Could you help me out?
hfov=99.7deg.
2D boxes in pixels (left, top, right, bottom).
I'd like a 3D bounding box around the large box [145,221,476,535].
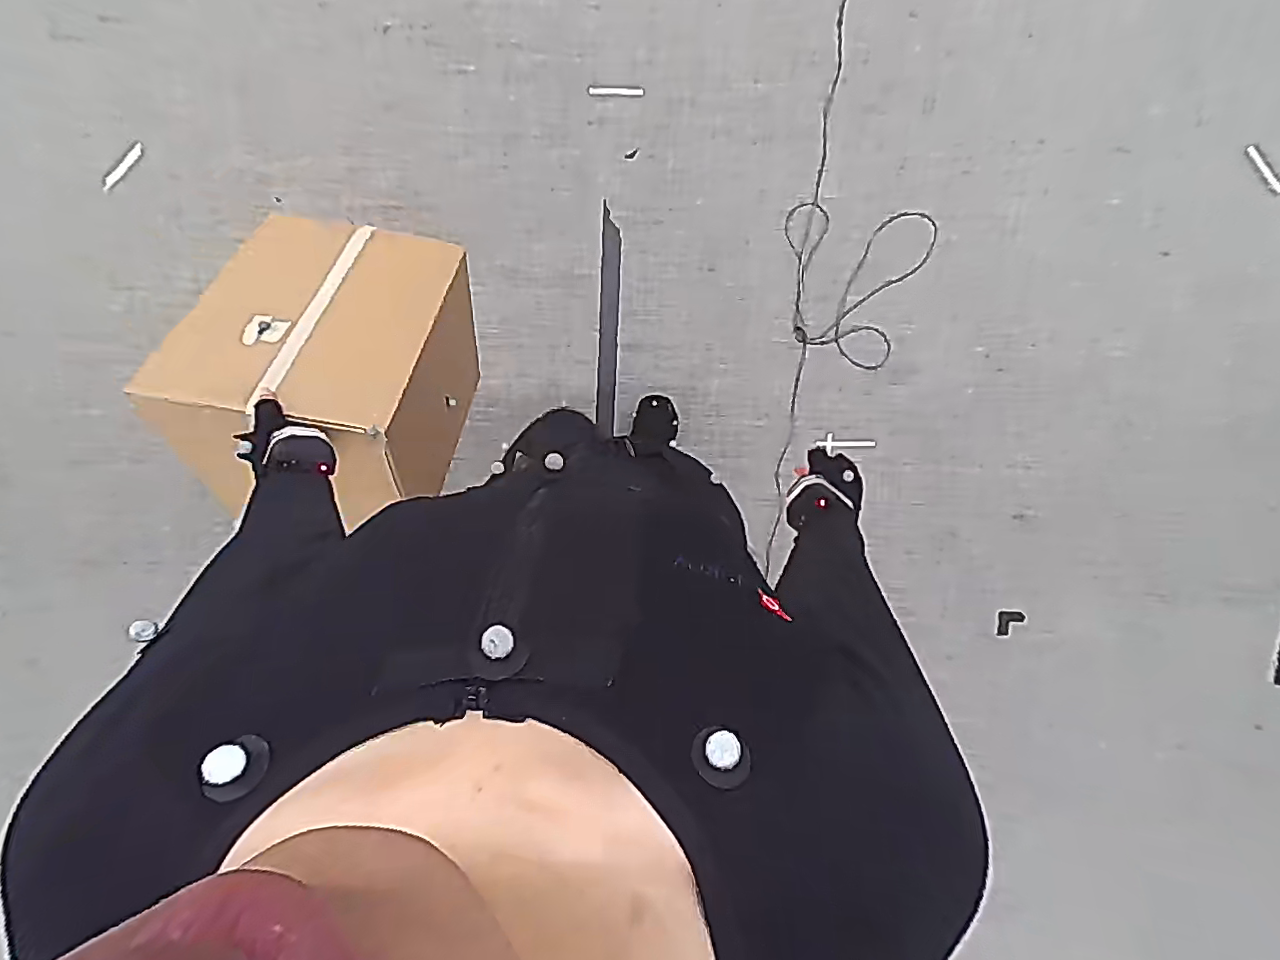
[{"bbox_3d":[-0.489,-0.166,0.927,0.320,0.320,0.408,8,56,-4],"label":"large box"}]
